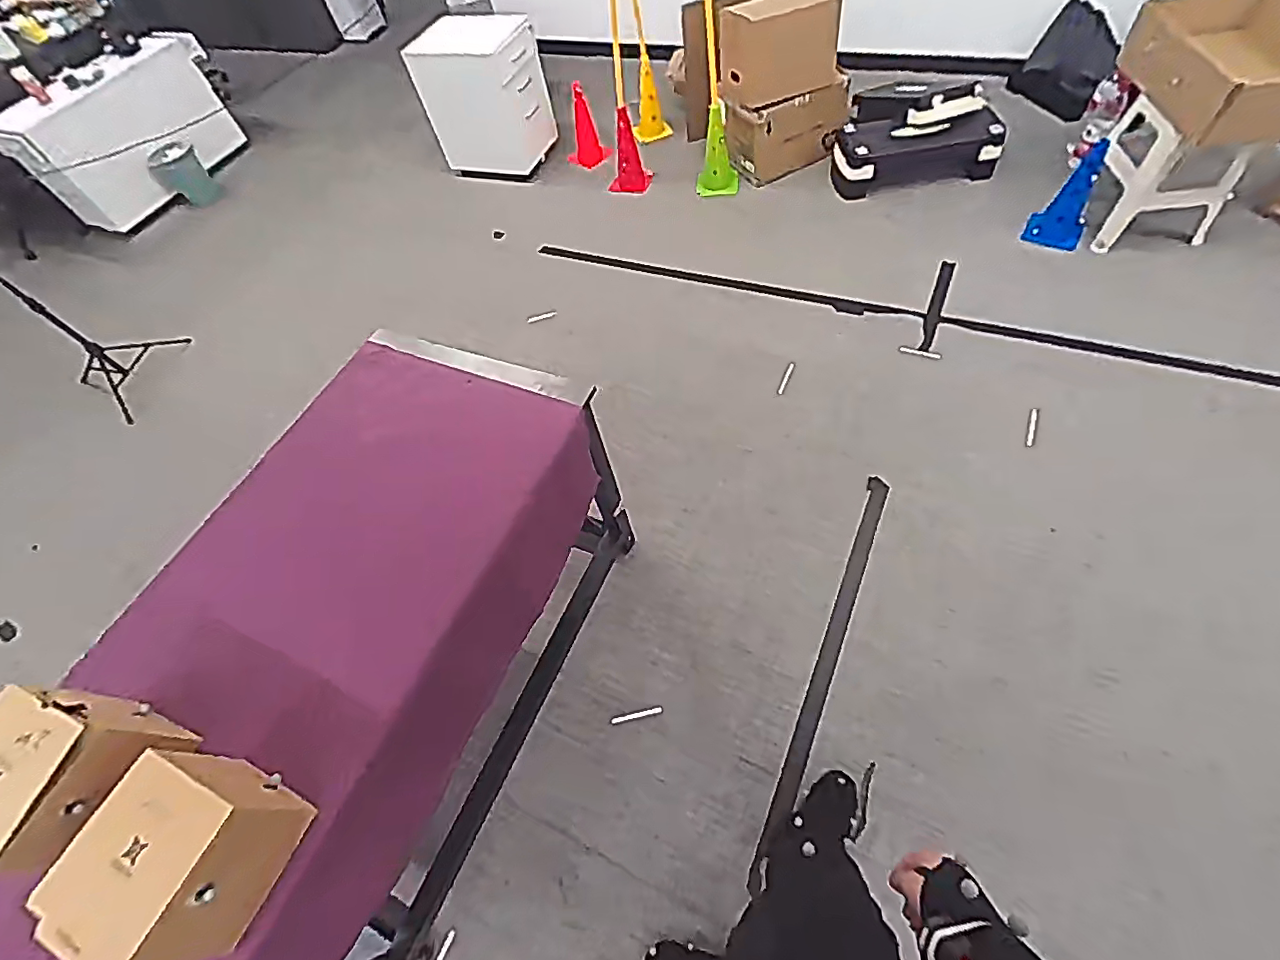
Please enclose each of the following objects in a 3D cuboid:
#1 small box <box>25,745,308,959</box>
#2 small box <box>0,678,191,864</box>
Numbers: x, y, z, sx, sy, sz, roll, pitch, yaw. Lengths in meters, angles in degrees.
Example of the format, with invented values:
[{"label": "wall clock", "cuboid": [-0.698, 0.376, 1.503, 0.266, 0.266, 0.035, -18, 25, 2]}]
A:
[{"label": "small box", "cuboid": [-0.577, 0.469, 0.688, 0.168, 0.176, 0.179, 18, 63, 18]}, {"label": "small box", "cuboid": [-0.801, 0.408, 0.757, 0.168, 0.176, 0.179, 16, 62, 16]}]
